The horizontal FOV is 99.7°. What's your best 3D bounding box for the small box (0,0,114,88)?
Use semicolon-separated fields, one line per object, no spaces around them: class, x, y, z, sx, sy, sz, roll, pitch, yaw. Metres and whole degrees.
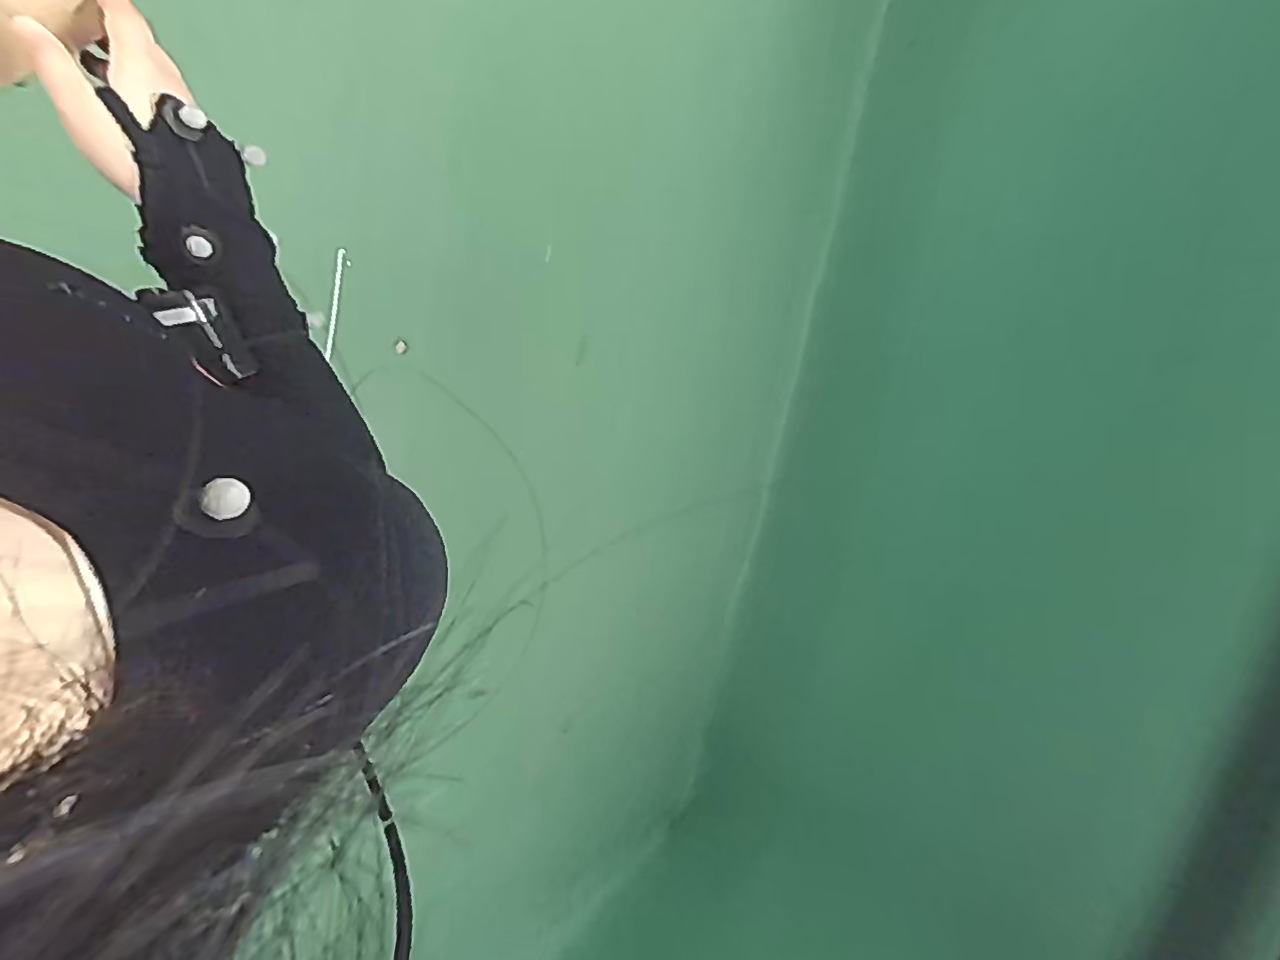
small box;-0.462;-0.331;0.300;0.168;0.176;0.179;-38;149;-8
